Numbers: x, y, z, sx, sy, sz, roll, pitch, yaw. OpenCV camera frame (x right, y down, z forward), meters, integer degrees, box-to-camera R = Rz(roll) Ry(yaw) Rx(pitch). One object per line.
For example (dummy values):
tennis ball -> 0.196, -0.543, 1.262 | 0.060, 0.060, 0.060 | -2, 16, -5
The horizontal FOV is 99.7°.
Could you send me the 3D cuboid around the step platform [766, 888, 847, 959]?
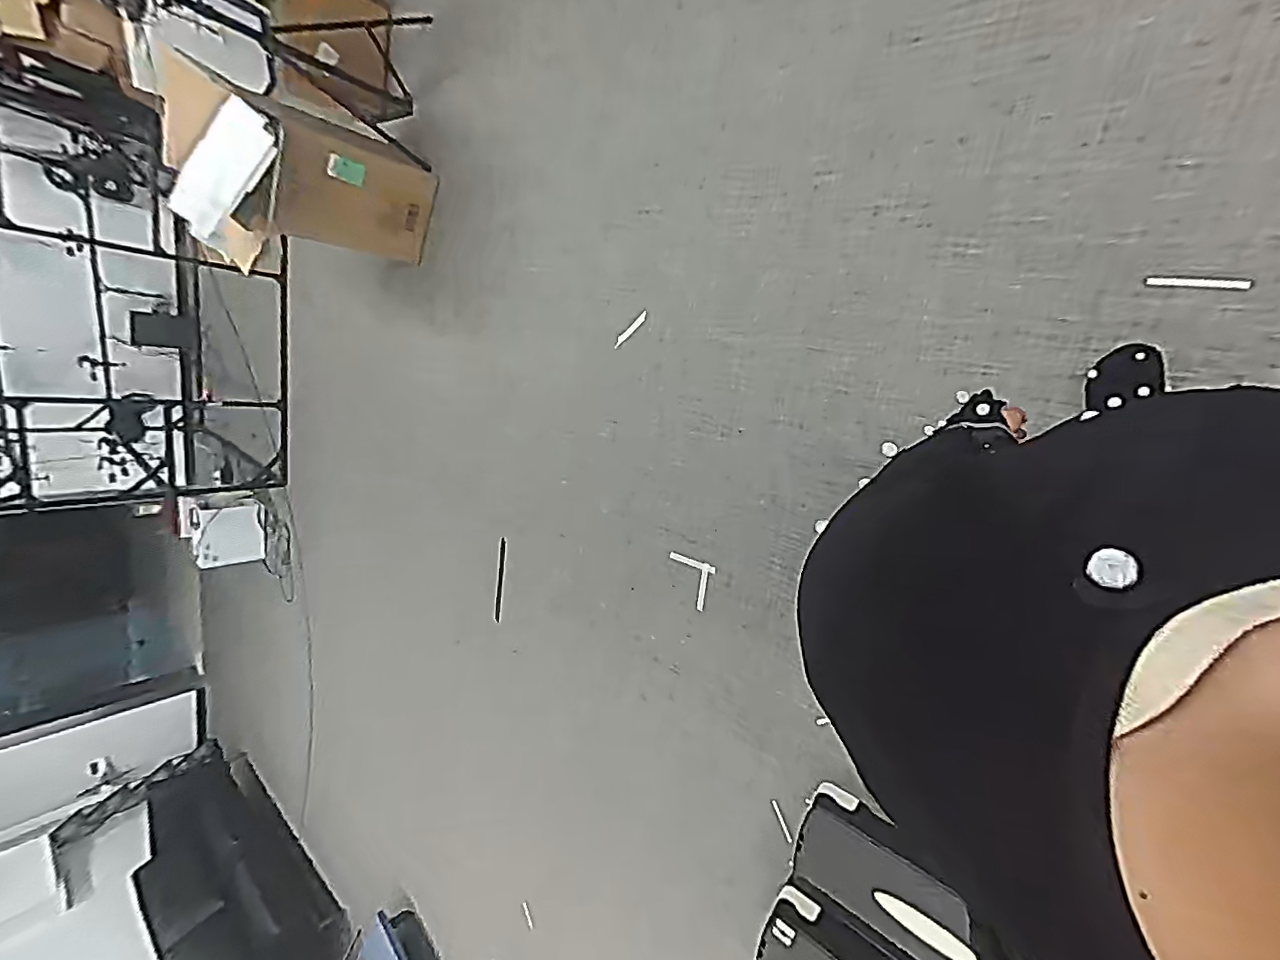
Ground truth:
step platform -> 0.624, 1.376, 1.289 | 0.684, 0.204, 0.286 | 25, 109, 37
